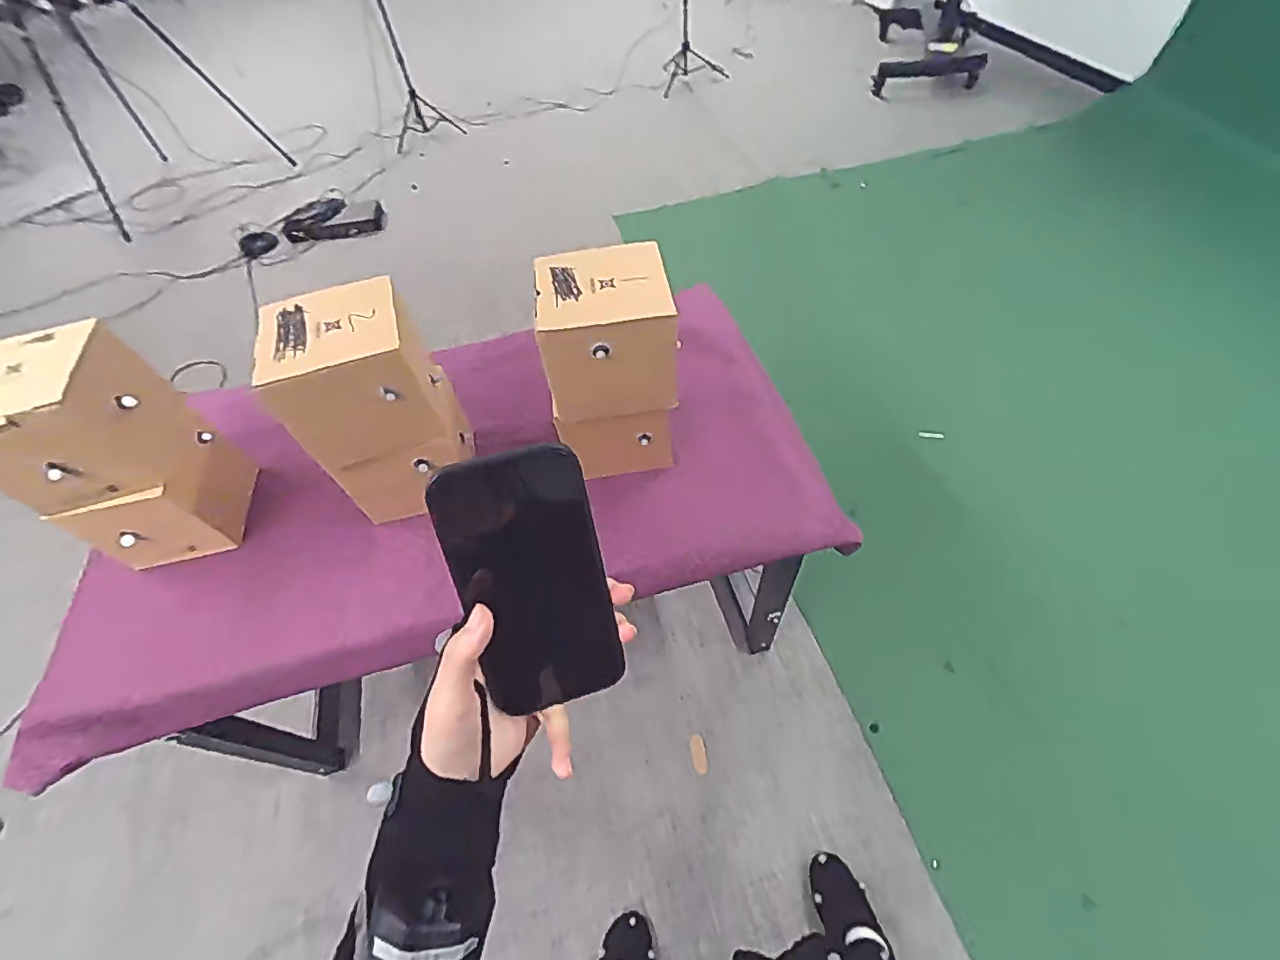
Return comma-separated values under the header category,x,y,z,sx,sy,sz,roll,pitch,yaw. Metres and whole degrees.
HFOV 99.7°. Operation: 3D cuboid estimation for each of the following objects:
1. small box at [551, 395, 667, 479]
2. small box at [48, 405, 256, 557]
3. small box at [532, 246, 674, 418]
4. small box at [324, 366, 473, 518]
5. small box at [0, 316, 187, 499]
category,x,y,z,sx,sy,sz,roll,pitch,yaw
small box,-0.049,-0.120,0.913,0.179,0.176,0.168,-8,54,0
small box,-0.769,0.010,0.880,0.168,0.176,0.179,-12,55,-4
small box,-0.049,-0.204,0.772,0.179,0.176,0.168,-7,54,-1
small box,-0.384,-0.059,0.895,0.179,0.176,0.168,-13,55,-4
small box,-0.782,-0.092,0.751,0.168,0.176,0.179,-16,56,-7
